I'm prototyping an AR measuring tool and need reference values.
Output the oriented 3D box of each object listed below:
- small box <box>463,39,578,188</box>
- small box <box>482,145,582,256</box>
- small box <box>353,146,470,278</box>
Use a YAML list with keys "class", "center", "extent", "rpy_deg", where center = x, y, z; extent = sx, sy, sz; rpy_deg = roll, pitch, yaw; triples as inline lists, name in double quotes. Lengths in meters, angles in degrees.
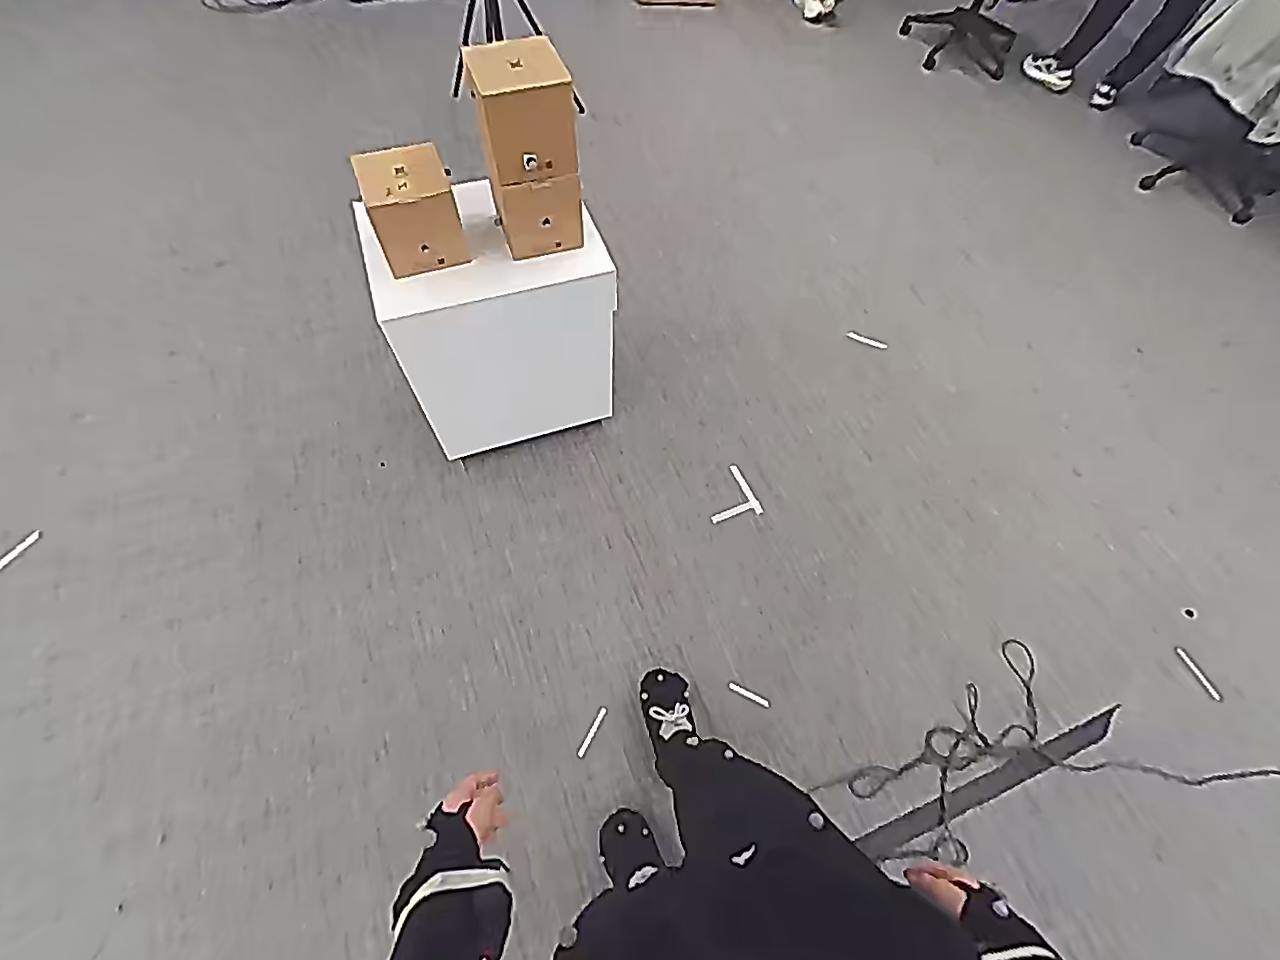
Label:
- class: "small box"
  center: [-0.224, -0.701, 1.039]
  extent: [0.168, 0.176, 0.179]
  rpy_deg: [-18, 64, -11]
- class: "small box"
  center: [-0.228, -0.613, 1.177]
  extent: [0.168, 0.176, 0.179]
  rpy_deg: [-17, 65, -12]
- class: "small box"
  center: [-0.473, -0.558, 1.133]
  extent: [0.168, 0.176, 0.179]
  rpy_deg: [-19, 65, -13]
